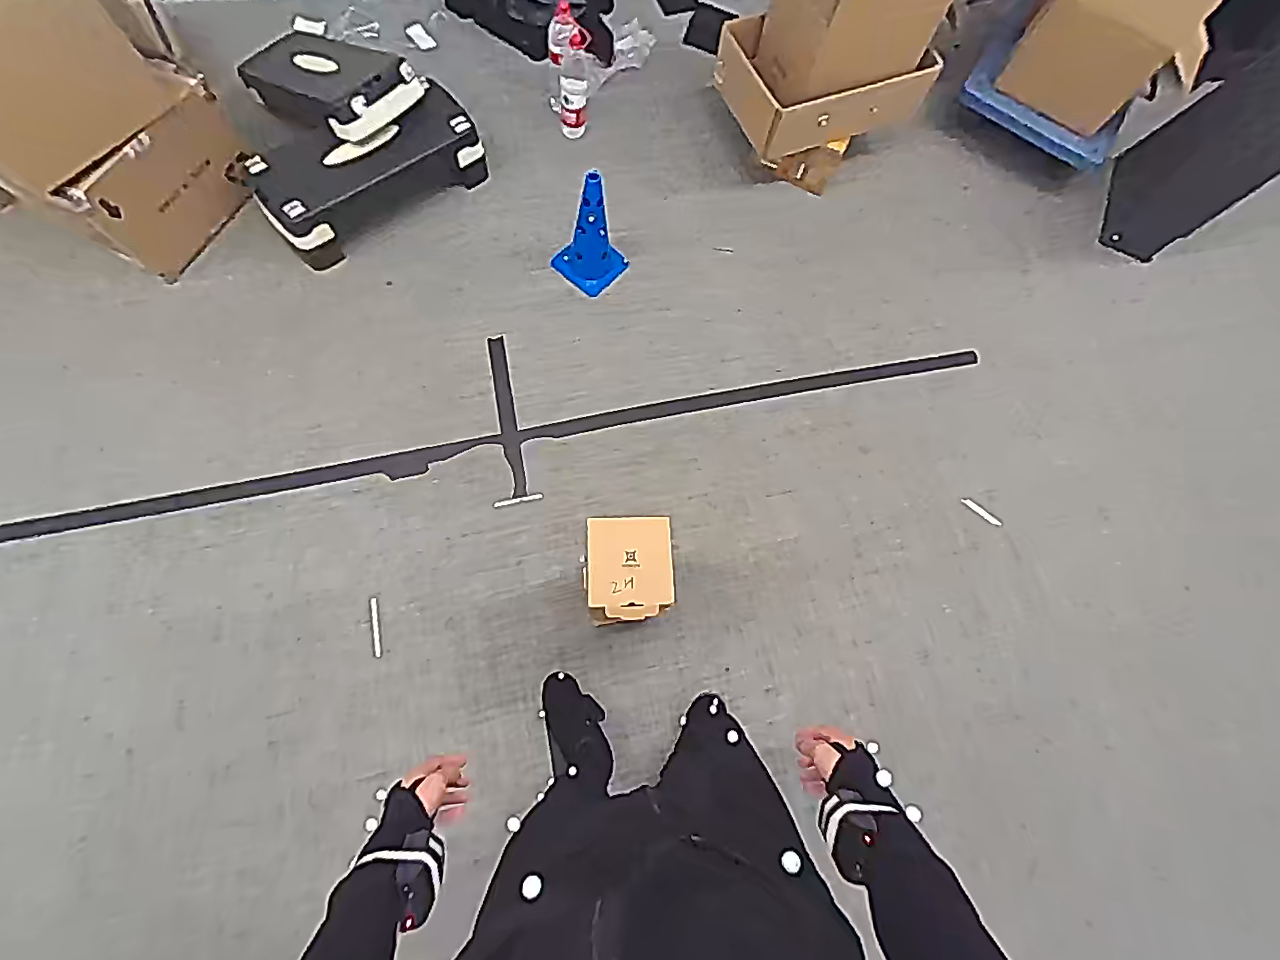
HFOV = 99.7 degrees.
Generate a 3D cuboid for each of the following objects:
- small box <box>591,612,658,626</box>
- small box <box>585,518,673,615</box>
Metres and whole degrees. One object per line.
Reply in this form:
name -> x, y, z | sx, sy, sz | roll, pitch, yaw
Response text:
small box -> -0.052, 0.290, 1.432 | 0.168, 0.176, 0.179 | -6, 73, -8
small box -> -0.030, 0.183, 1.120 | 0.168, 0.176, 0.179 | 0, 73, -7
